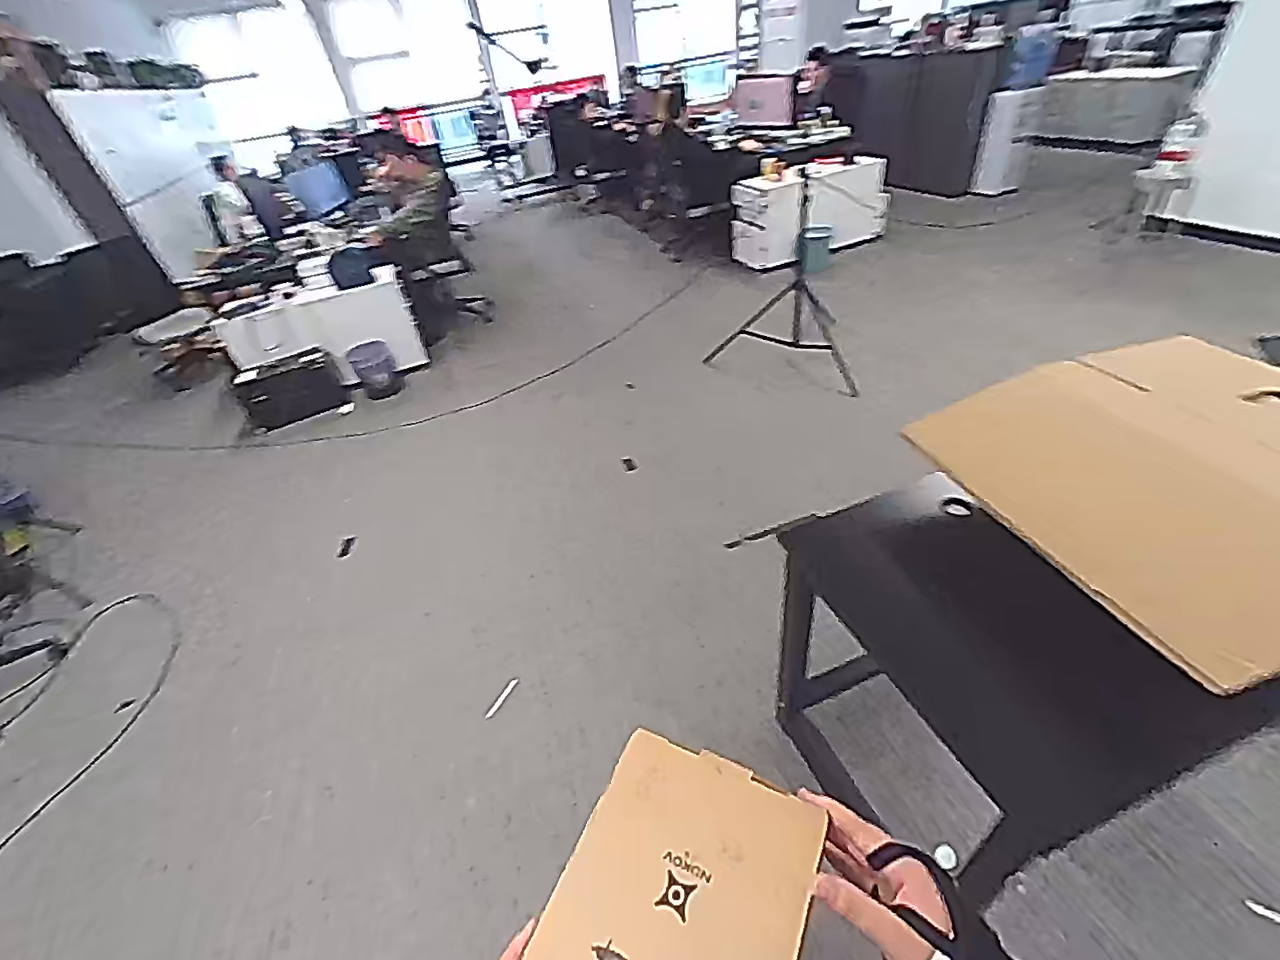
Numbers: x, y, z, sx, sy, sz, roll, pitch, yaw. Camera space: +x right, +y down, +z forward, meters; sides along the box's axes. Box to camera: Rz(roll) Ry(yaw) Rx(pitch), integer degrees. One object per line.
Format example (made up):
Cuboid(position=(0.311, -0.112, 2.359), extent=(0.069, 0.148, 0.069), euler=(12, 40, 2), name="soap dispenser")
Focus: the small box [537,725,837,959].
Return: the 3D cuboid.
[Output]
Cuboid(position=(0.048, 0.345, 0.436), extent=(0.168, 0.176, 0.179), euler=(12, 44, 27), name="small box")
